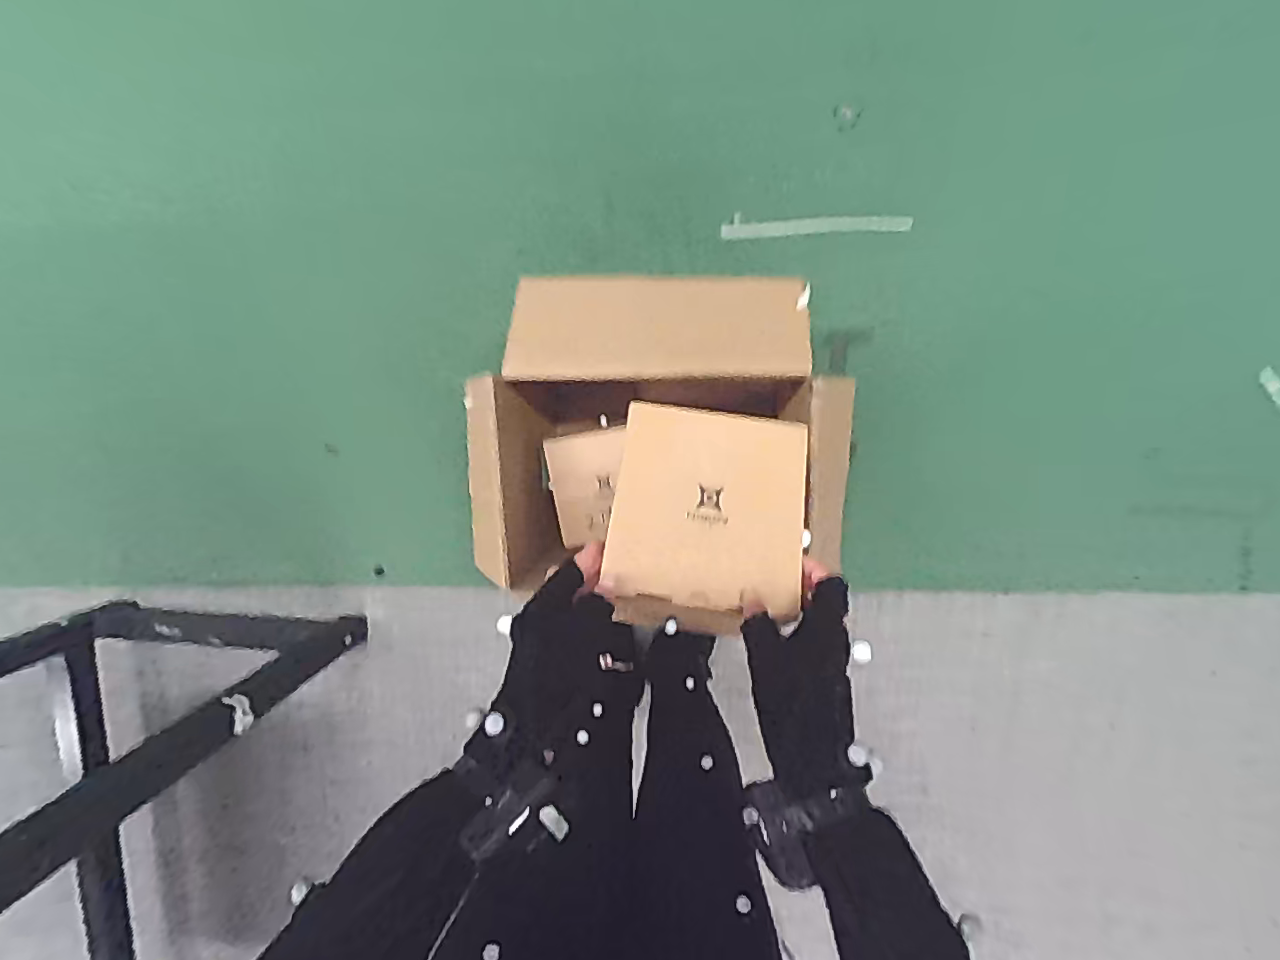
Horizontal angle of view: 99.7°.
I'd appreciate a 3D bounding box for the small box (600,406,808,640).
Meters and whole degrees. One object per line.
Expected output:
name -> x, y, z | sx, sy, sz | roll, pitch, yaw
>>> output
small box -> 0.056, 0.052, 0.535 | 0.168, 0.176, 0.179 | 9, 69, 1
